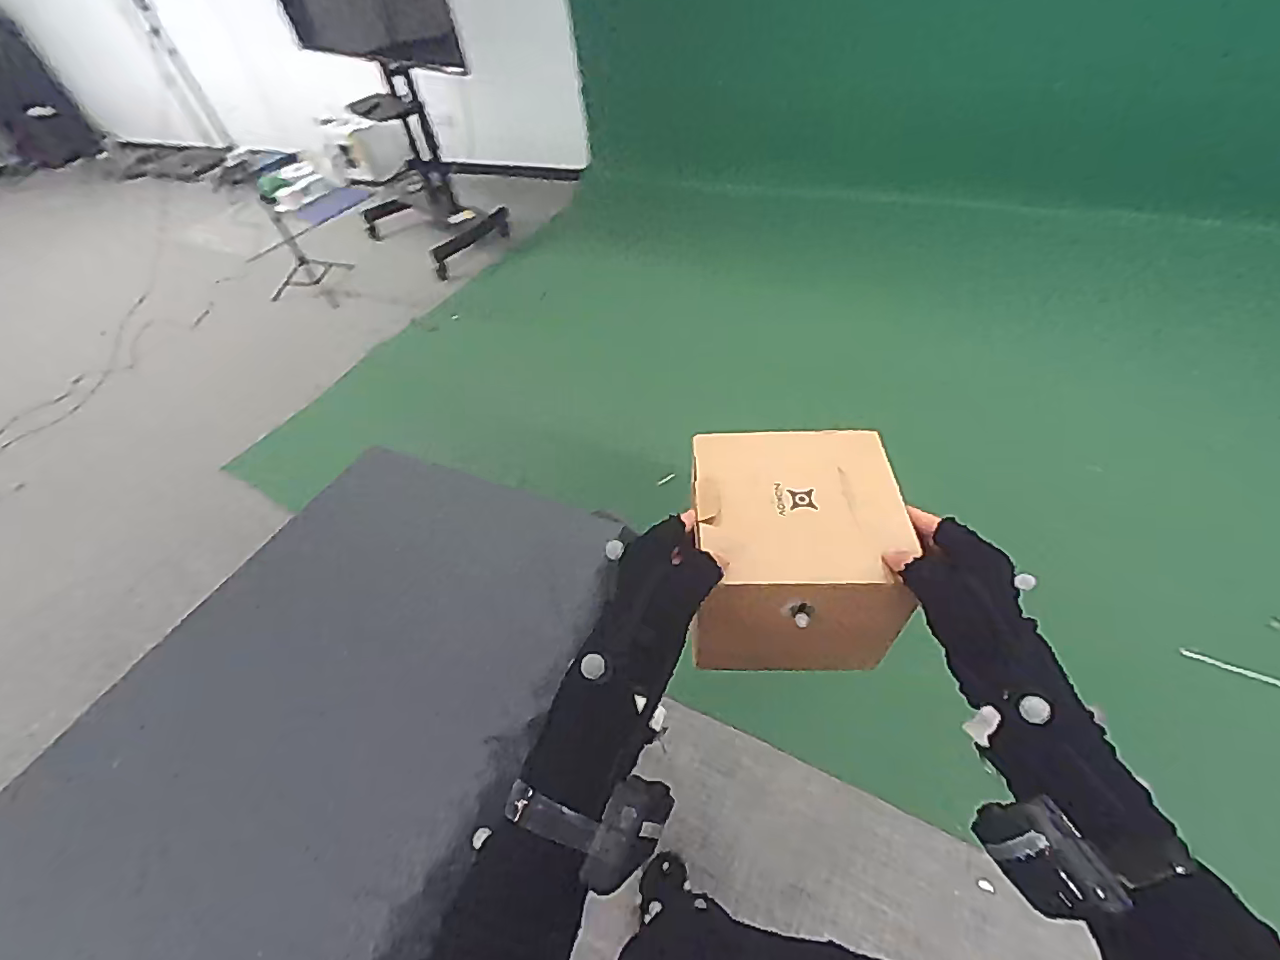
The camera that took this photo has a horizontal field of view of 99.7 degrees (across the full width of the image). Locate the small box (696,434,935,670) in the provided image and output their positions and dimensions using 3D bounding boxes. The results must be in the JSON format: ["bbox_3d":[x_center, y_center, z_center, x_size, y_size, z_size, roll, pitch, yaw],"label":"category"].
[{"bbox_3d":[0.144,0.072,0.523,0.179,0.176,0.168,1,49,2],"label":"small box"}]
